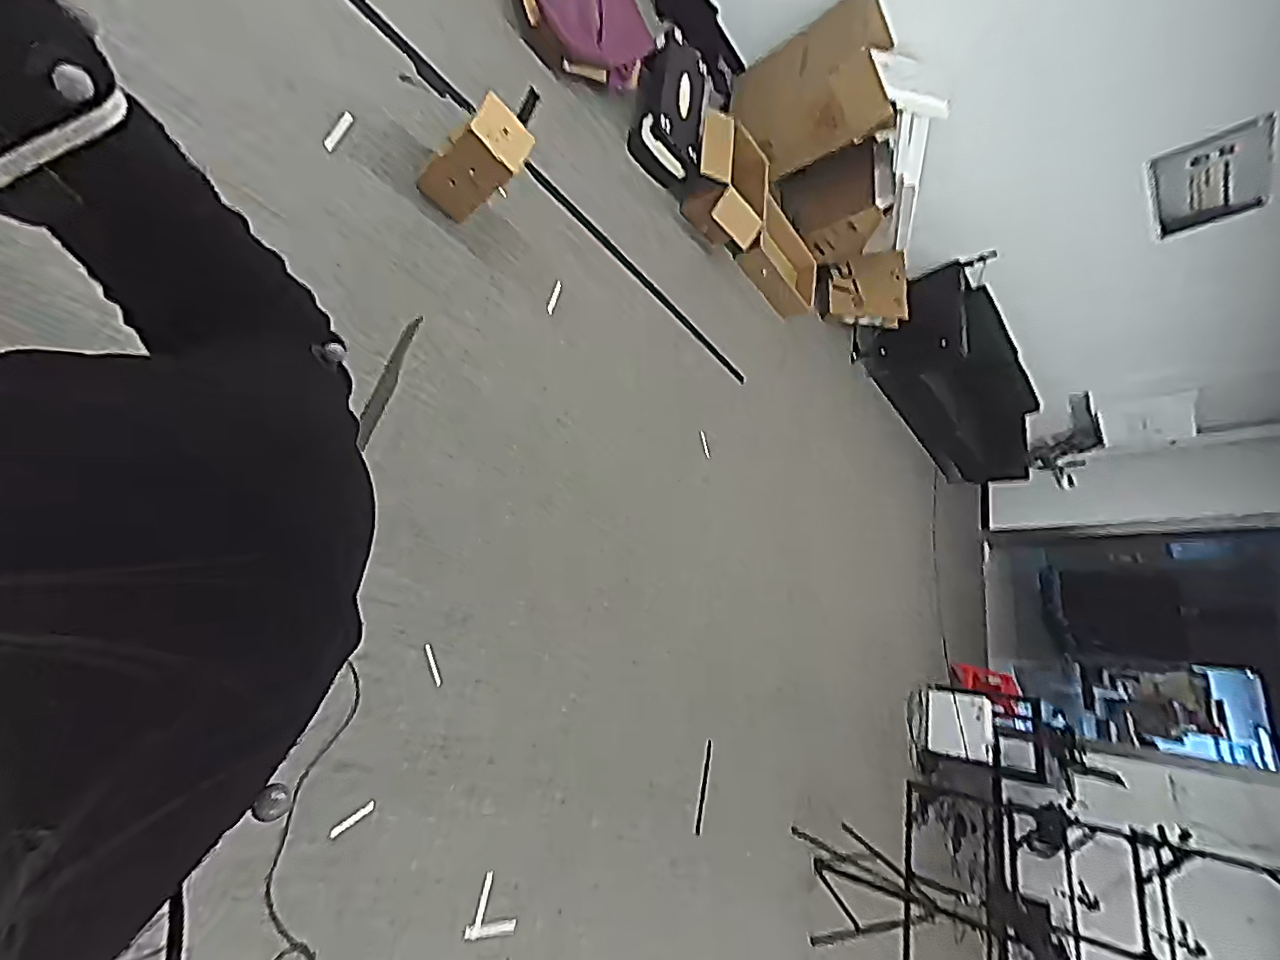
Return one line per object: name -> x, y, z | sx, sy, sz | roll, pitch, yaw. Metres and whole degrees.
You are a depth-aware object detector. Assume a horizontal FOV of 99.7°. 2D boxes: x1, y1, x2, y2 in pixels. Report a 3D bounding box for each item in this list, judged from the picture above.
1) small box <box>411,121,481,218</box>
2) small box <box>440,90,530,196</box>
small box -> -0.589, -0.976, 1.714 | 0.179, 0.176, 0.168 | 38, 58, -38
small box -> -0.463, -0.996, 1.609 | 0.168, 0.176, 0.179 | 37, 58, -37
